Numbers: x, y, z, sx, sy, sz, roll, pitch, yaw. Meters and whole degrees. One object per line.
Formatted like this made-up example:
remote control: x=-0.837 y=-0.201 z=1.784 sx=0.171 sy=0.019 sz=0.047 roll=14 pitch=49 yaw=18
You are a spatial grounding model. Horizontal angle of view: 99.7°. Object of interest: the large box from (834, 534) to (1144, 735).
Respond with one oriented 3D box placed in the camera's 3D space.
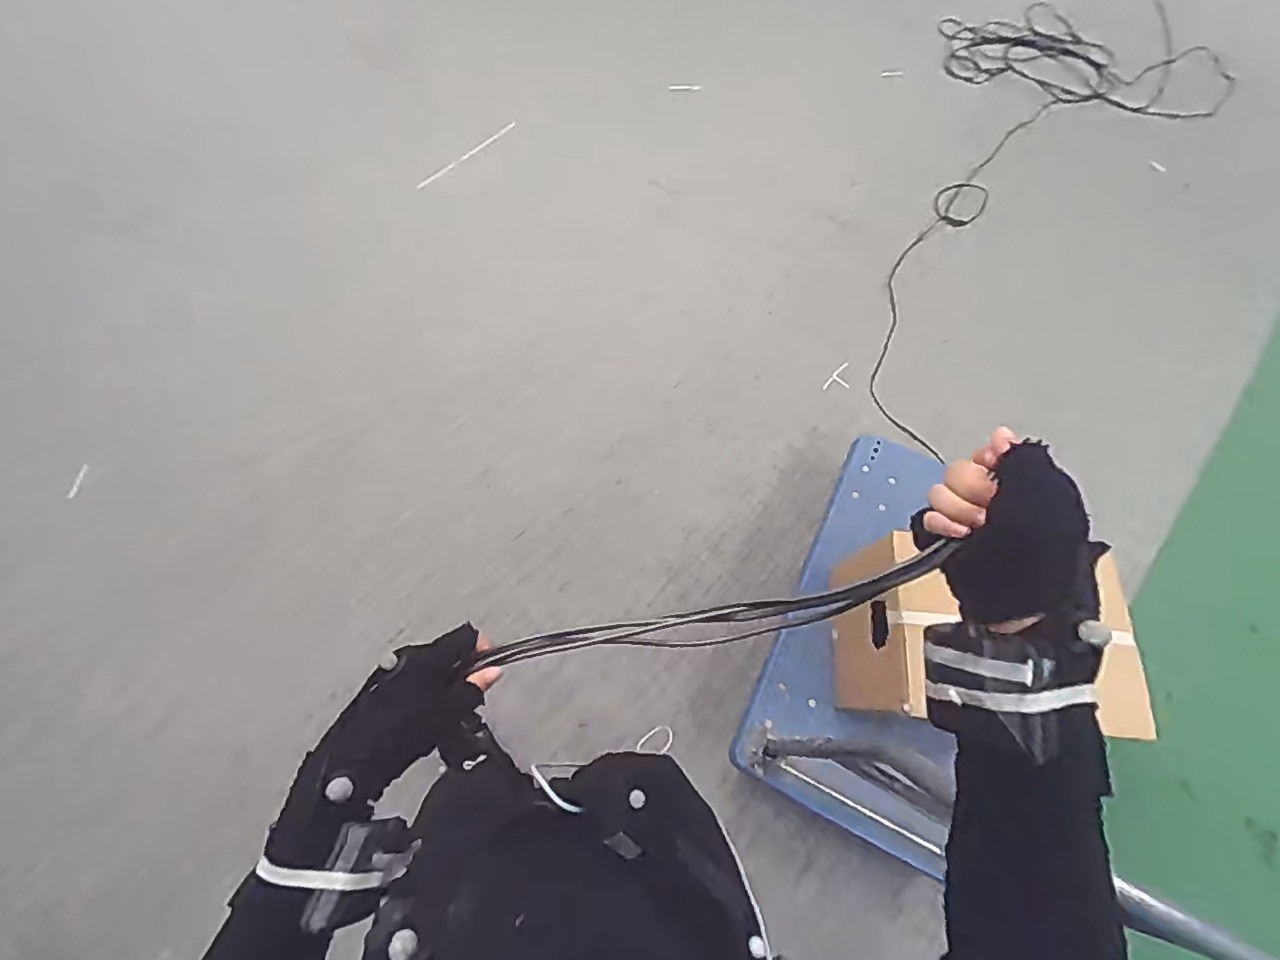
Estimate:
large box: x=0.640 y=0.310 z=1.076 sx=0.408 sy=0.320 sz=0.320 roll=6 pitch=68 yaw=1
